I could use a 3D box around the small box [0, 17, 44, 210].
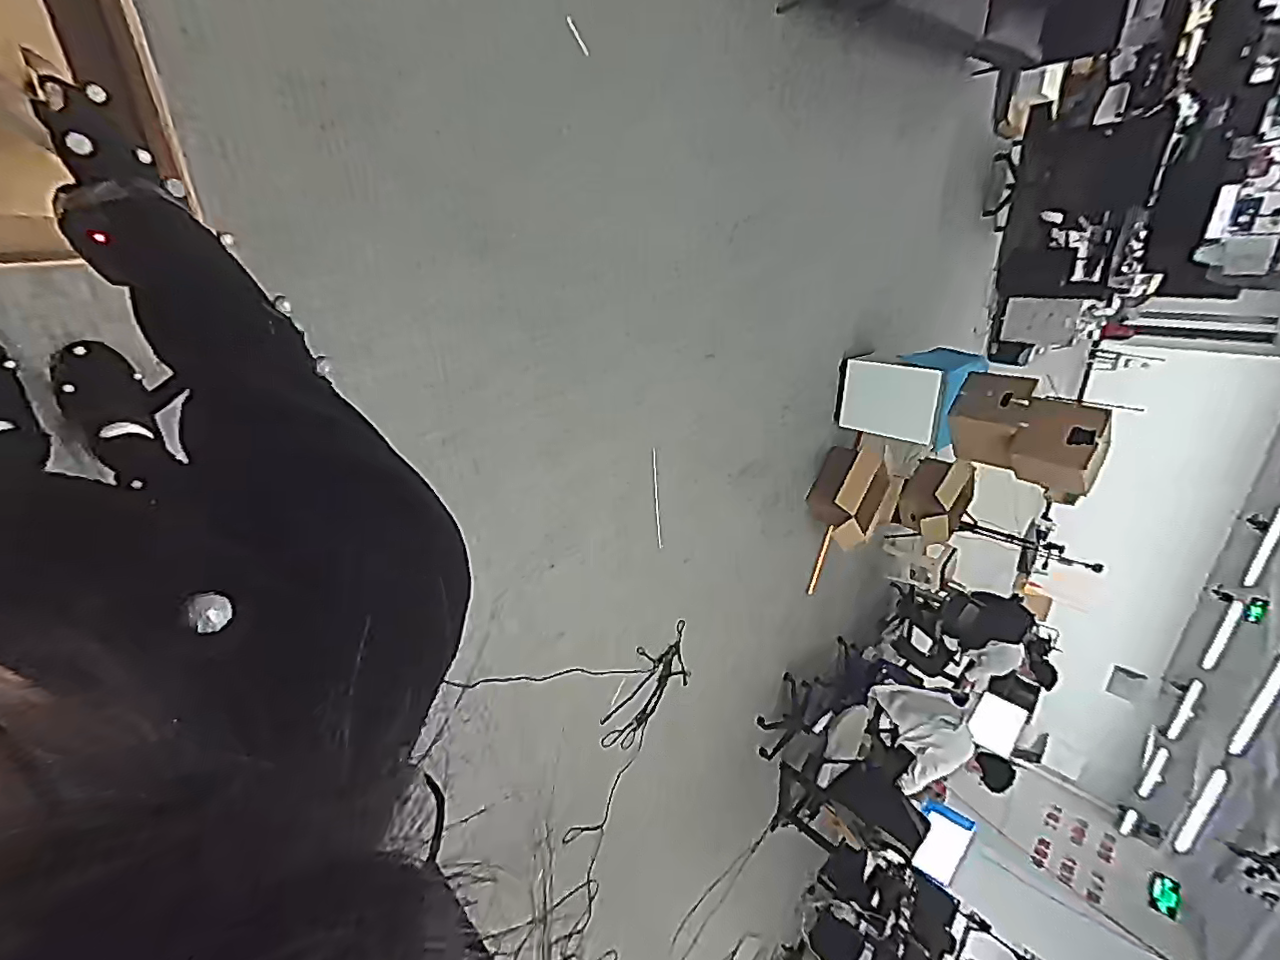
[{"bbox_3d":[-0.649,-0.361,0.454,0.168,0.176,0.179,-19,83,-47],"label":"small box"}]
